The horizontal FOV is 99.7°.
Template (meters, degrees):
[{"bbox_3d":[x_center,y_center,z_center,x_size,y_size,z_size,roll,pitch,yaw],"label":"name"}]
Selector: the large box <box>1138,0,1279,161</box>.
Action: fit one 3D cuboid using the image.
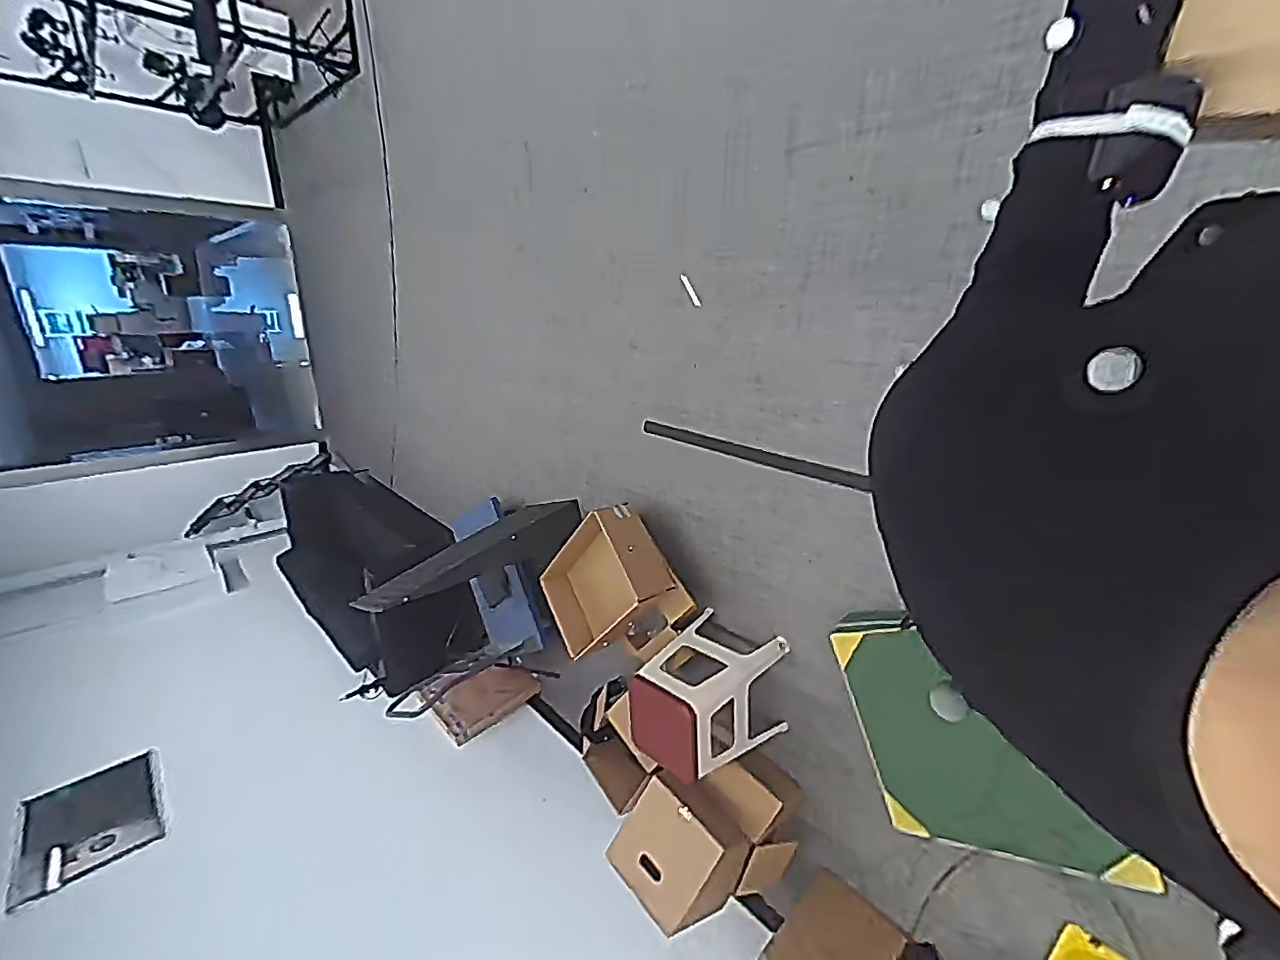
[{"bbox_3d":[0.607,-0.385,0.311,0.408,0.320,0.320,21,125,38],"label":"large box"}]
